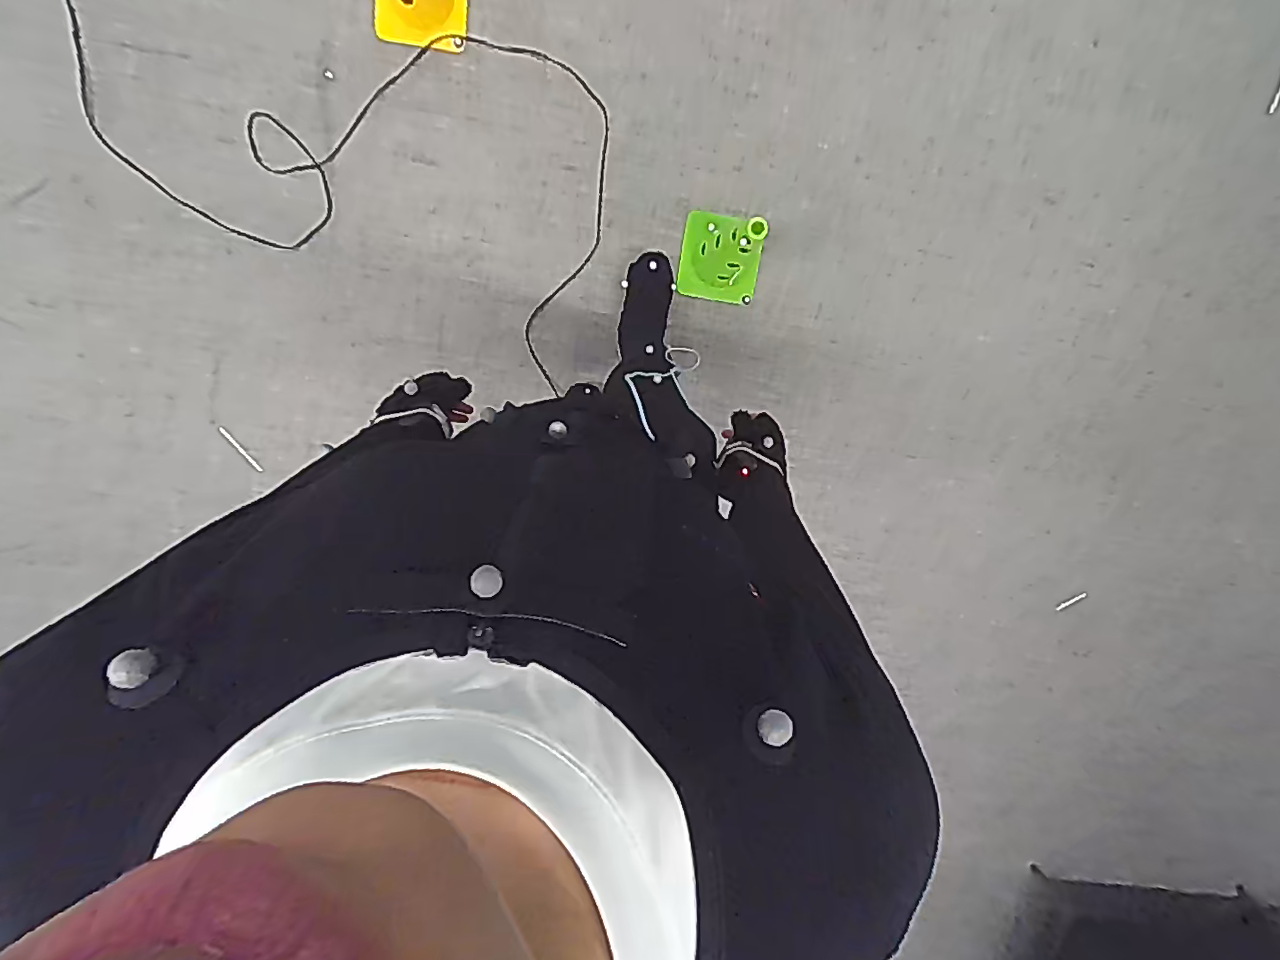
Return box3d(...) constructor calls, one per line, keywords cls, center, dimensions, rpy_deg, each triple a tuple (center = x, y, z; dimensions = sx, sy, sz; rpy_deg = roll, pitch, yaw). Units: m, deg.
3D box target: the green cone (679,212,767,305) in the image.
box3d(cls="green cone", center=(0.214, -0.519, 1.191), dimensions=(0.202, 0.368, 0.200), rpy_deg=(8, 102, -4))
